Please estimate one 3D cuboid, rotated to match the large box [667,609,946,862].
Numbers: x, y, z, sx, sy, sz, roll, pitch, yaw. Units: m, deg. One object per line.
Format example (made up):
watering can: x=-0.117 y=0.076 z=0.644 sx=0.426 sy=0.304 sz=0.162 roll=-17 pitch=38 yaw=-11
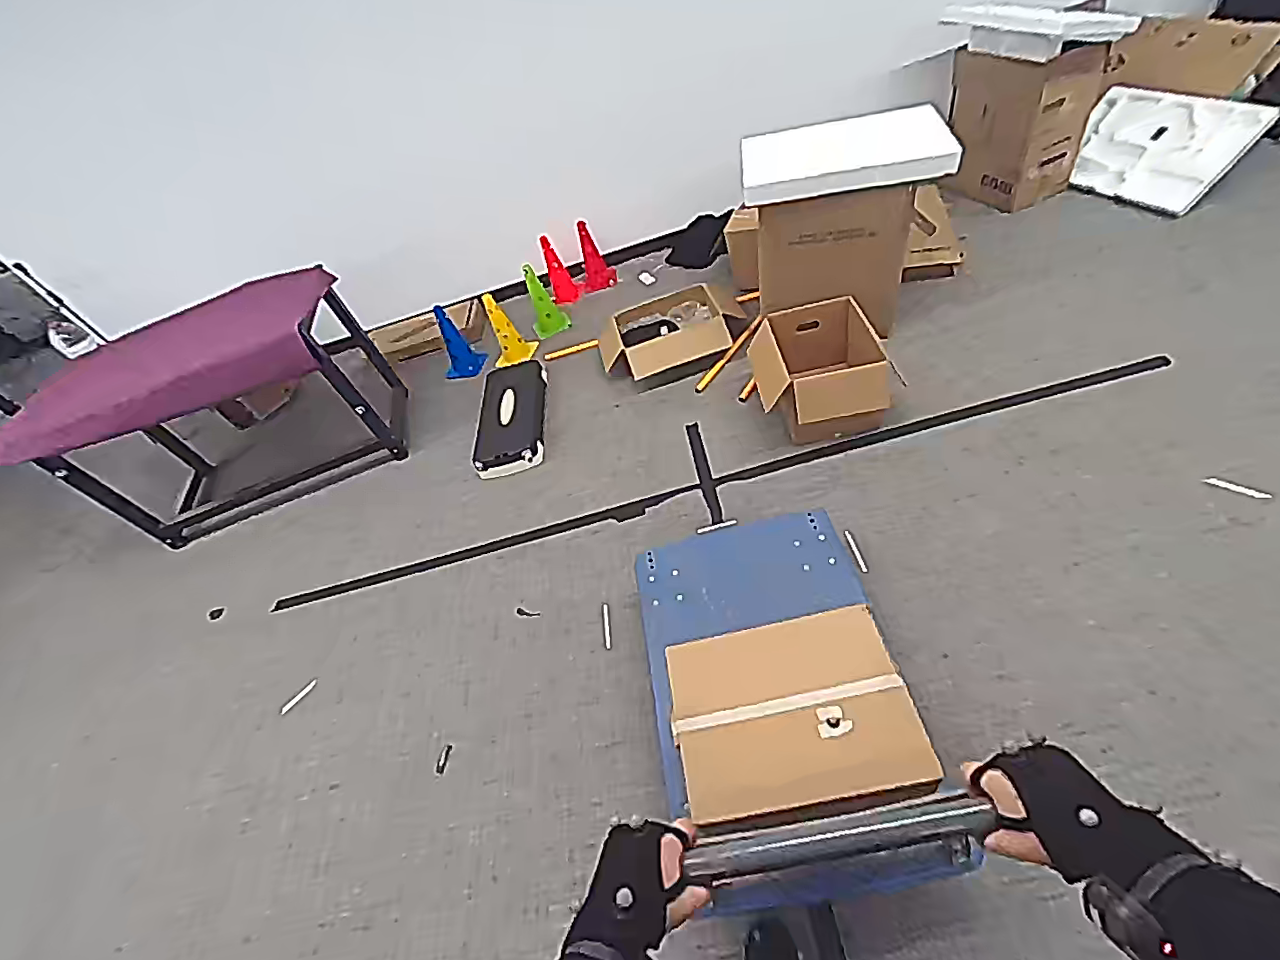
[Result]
large box: x=0.293 y=0.501 z=1.048 sx=0.408 sy=0.320 sz=0.320 roll=-14 pitch=47 yaw=5
